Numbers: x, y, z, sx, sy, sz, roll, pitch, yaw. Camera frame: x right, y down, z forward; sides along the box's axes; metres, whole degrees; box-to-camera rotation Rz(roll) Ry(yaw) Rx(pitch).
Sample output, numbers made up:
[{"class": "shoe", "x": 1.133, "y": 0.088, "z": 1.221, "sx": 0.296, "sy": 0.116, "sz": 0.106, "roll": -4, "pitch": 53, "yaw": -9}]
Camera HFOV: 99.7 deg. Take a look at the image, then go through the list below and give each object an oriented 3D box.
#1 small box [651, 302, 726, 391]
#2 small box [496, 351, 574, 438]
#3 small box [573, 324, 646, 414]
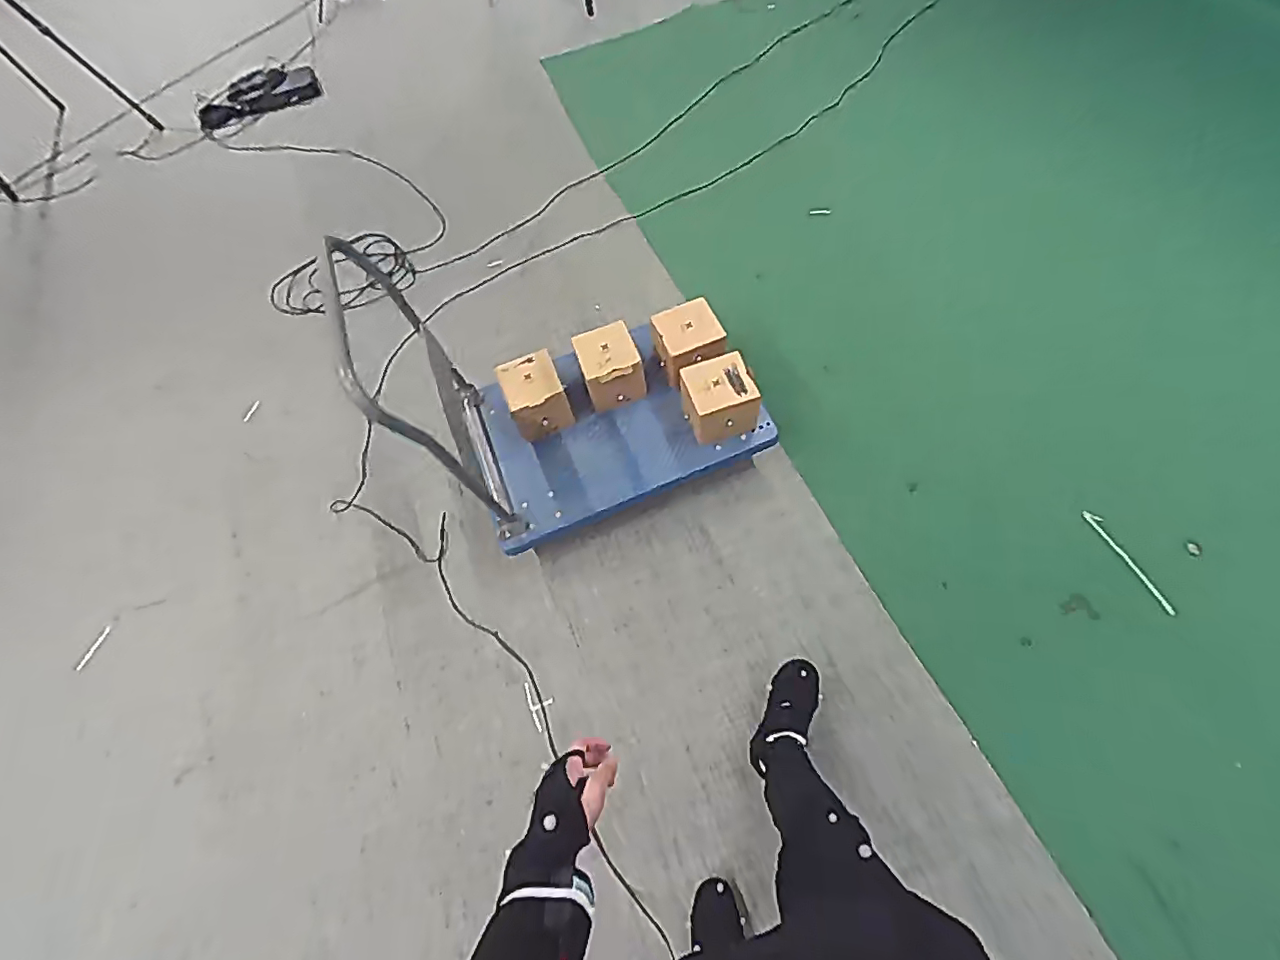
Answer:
[{"class": "small box", "x": 0.148, "y": -0.398, "z": 1.637, "sx": 0.179, "sy": 0.176, "sz": 0.168, "roll": -21, "pitch": 64, "yaw": -4}, {"class": "small box", "x": -0.307, "y": -0.244, "z": 1.606, "sx": 0.168, "sy": 0.176, "sz": 0.179, "roll": -21, "pitch": 64, "yaw": -5}, {"class": "small box", "x": -0.088, "y": -0.331, "z": 1.628, "sx": 0.168, "sy": 0.176, "sz": 0.179, "roll": -19, "pitch": 63, "yaw": -3}]
